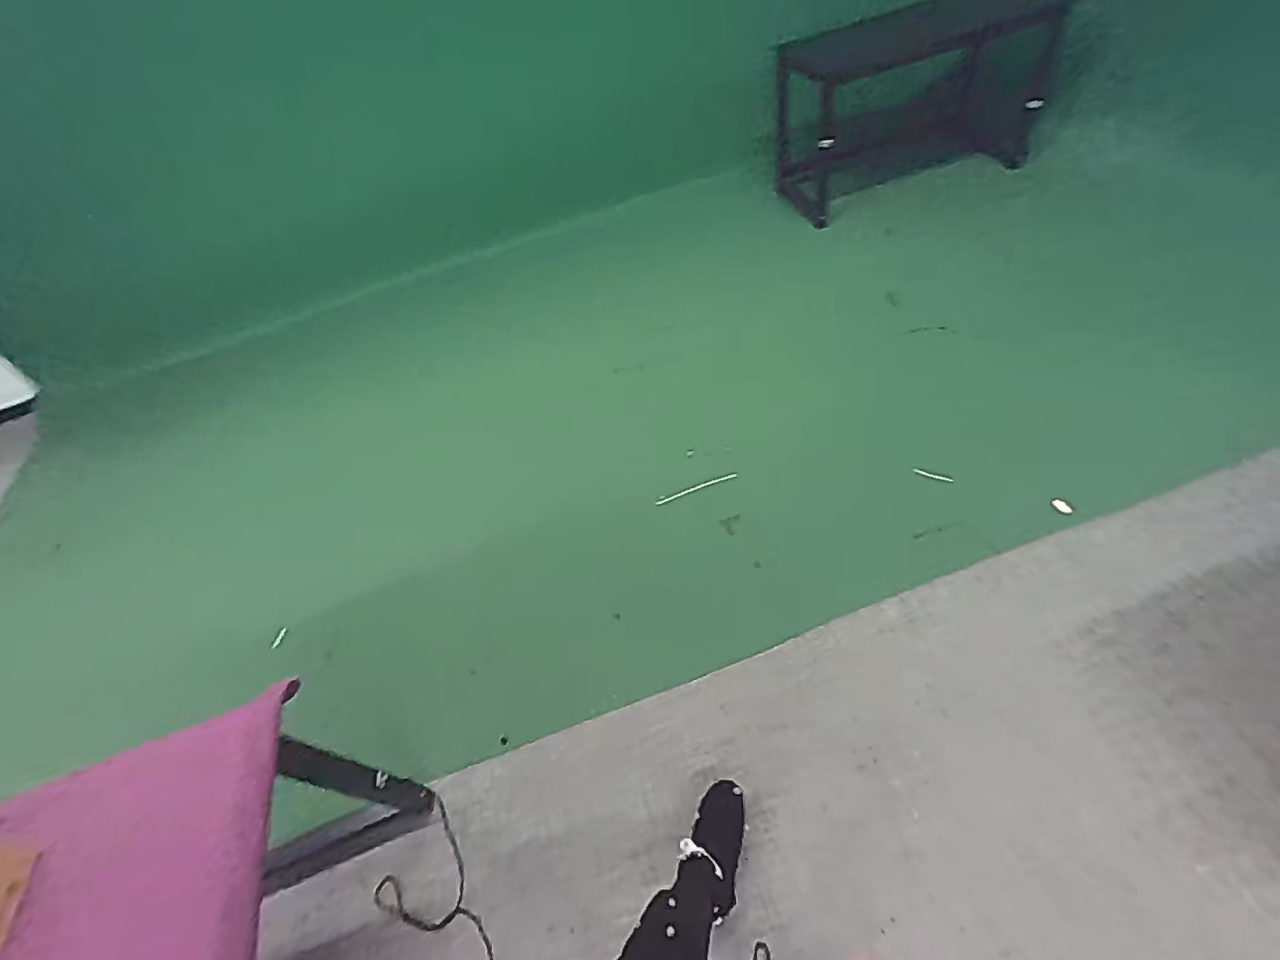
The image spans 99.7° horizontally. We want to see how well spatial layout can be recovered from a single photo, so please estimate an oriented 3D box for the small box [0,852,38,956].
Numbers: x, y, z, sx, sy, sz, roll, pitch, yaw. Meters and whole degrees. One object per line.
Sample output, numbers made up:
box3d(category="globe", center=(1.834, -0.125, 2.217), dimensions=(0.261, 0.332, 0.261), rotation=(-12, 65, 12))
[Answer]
box3d(category="small box", center=(-1.063, 0.659, 0.784), dimensions=(0.179, 0.176, 0.168), rotation=(-21, 49, -4))
